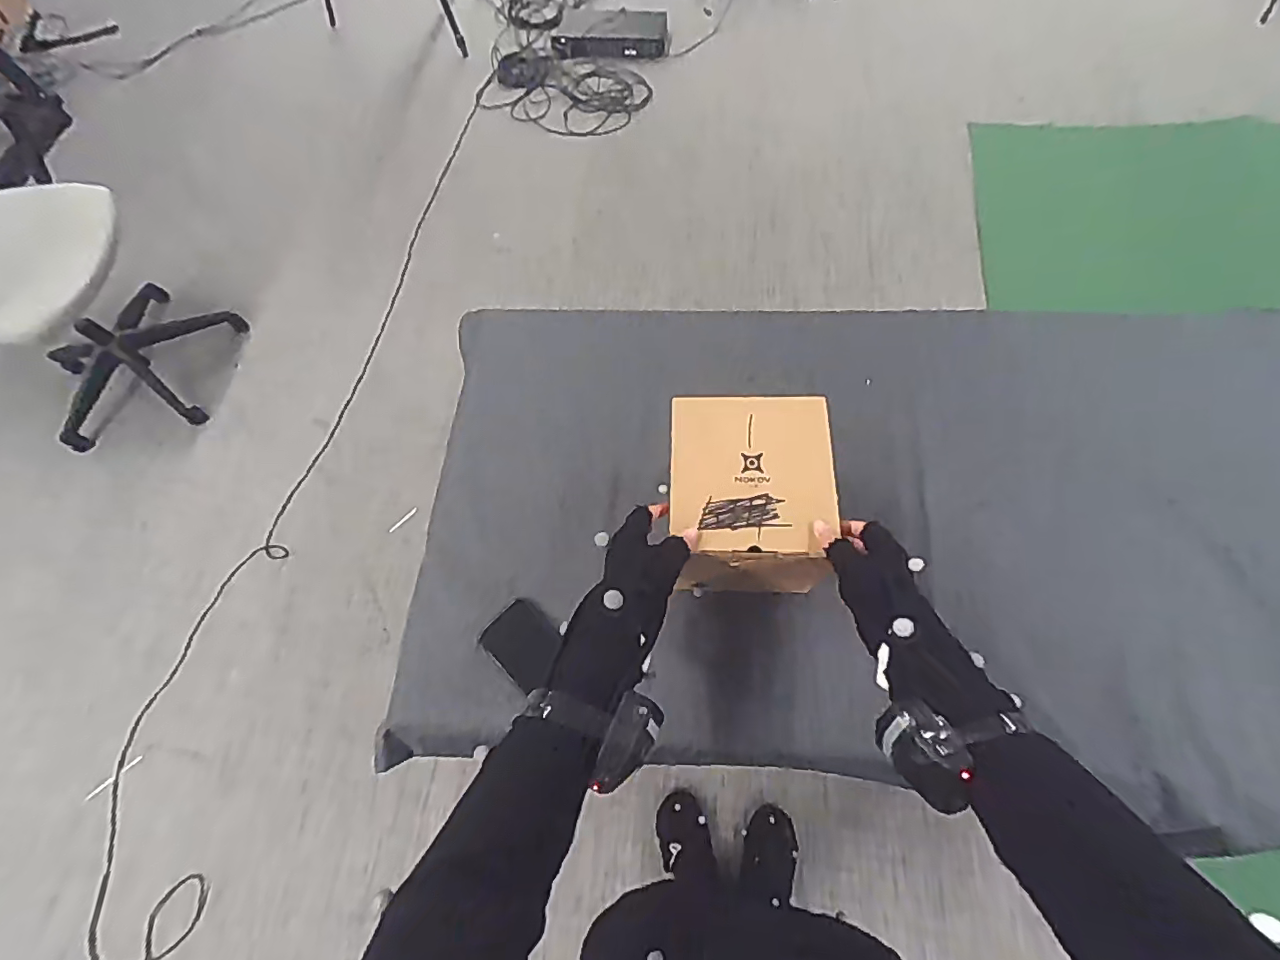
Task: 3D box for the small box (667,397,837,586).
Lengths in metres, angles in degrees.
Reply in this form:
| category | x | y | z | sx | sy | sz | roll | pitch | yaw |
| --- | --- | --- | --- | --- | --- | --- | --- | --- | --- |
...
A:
| category | x | y | z | sx | sy | sz | roll | pitch | yaw |
| --- | --- | --- | --- | --- | --- | --- | --- | --- | --- |
| small box | 0.118 | 0.021 | 0.627 | 0.168 | 0.176 | 0.179 | 0 | 66 | 5 |
